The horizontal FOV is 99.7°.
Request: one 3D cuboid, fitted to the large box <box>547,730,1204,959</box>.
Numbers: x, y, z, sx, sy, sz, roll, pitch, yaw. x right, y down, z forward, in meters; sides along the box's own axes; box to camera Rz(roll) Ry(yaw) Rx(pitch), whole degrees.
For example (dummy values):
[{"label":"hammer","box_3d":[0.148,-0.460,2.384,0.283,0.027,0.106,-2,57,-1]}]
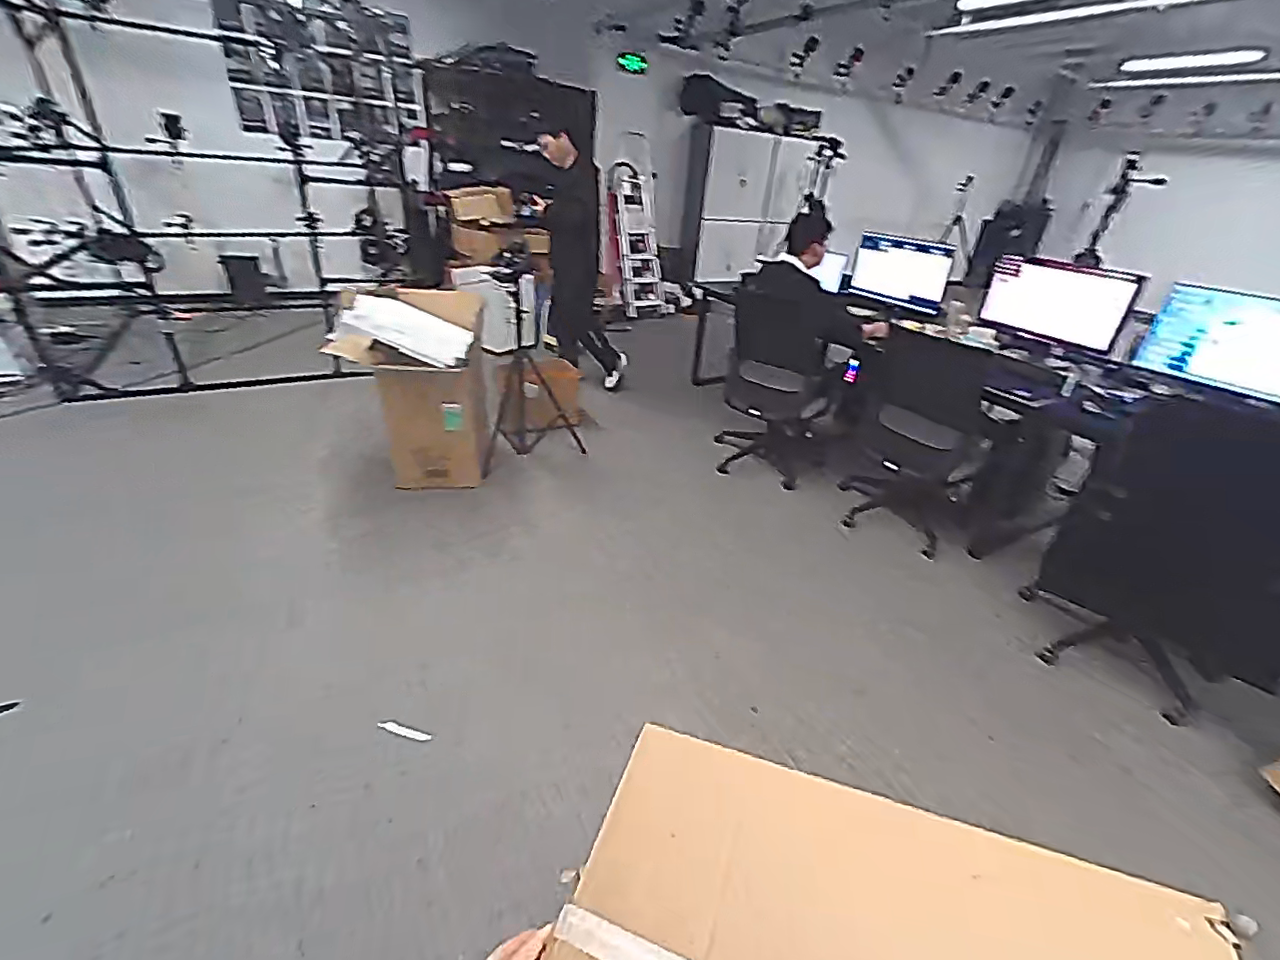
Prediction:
[{"label":"large box","box_3d":[0.147,0.461,0.417,0.408,0.320,0.320,7,42,22]}]
